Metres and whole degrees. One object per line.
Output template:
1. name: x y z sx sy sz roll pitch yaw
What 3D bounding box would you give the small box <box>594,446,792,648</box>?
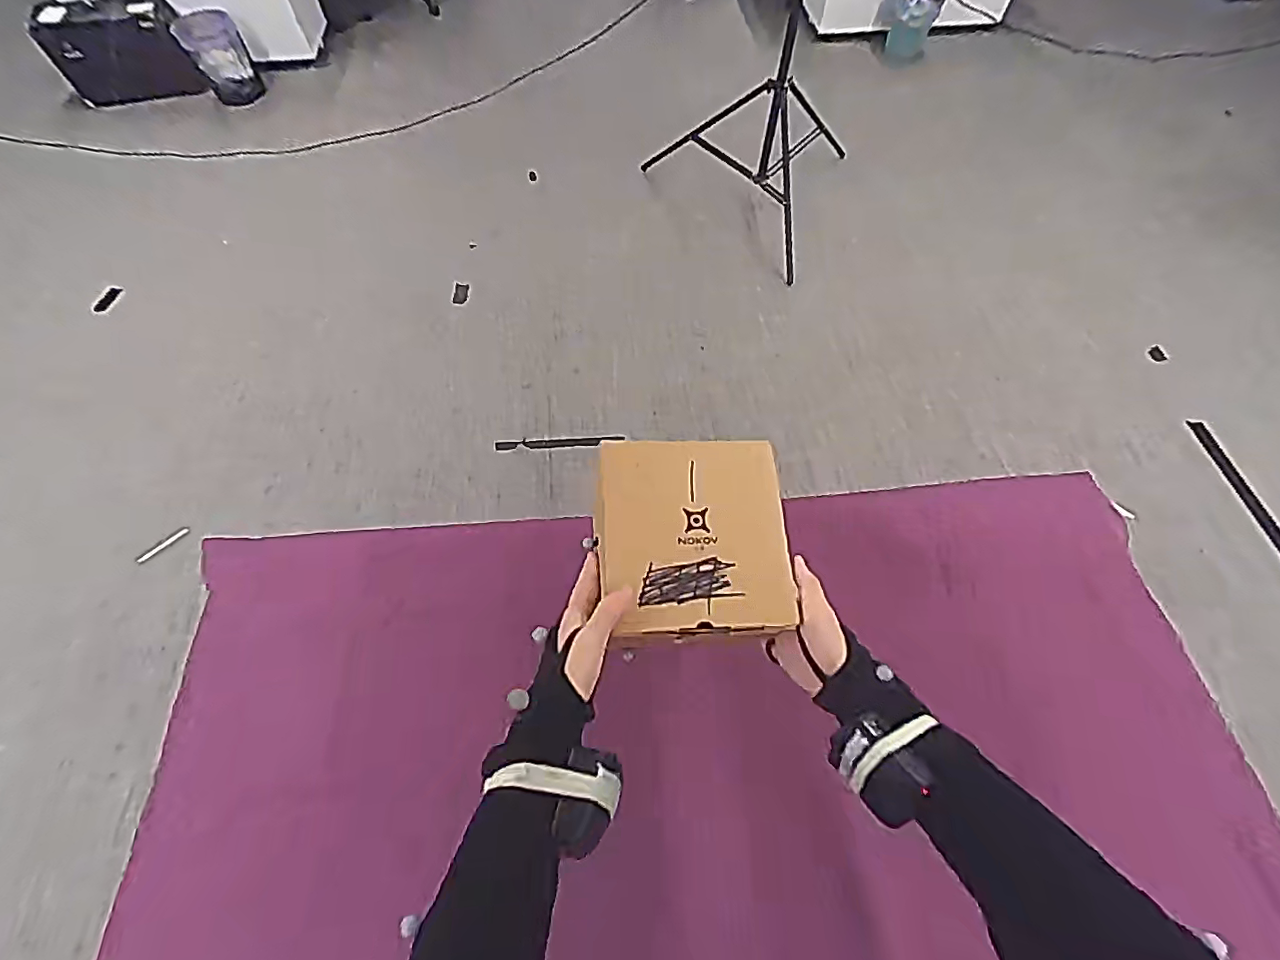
1. small box: 0.039 0.078 0.559 0.168 0.176 0.179 0 68 -7
